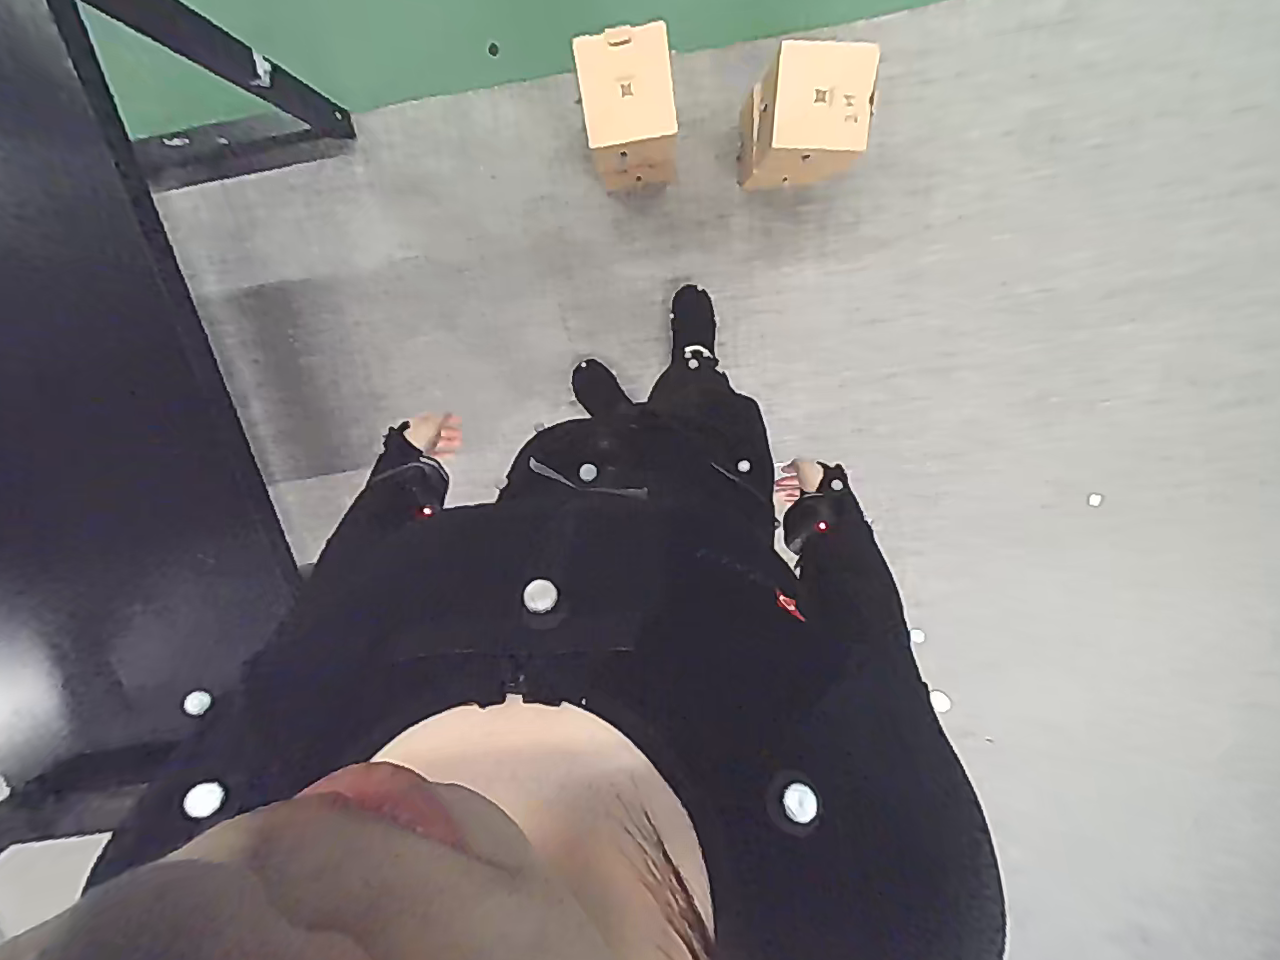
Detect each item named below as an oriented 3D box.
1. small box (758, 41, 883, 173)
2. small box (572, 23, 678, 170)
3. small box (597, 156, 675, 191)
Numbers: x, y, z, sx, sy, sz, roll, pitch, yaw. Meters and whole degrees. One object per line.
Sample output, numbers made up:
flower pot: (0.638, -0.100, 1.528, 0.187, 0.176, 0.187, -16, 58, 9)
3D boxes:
small box: (0.327, -0.693, 1.022, 0.179, 0.176, 0.168, 2, 108, 0)
small box: (-0.021, -0.708, 1.024, 0.168, 0.176, 0.179, -9, 106, 4)
small box: (-0.017, -0.749, 1.182, 0.168, 0.176, 0.179, -10, 107, 4)
